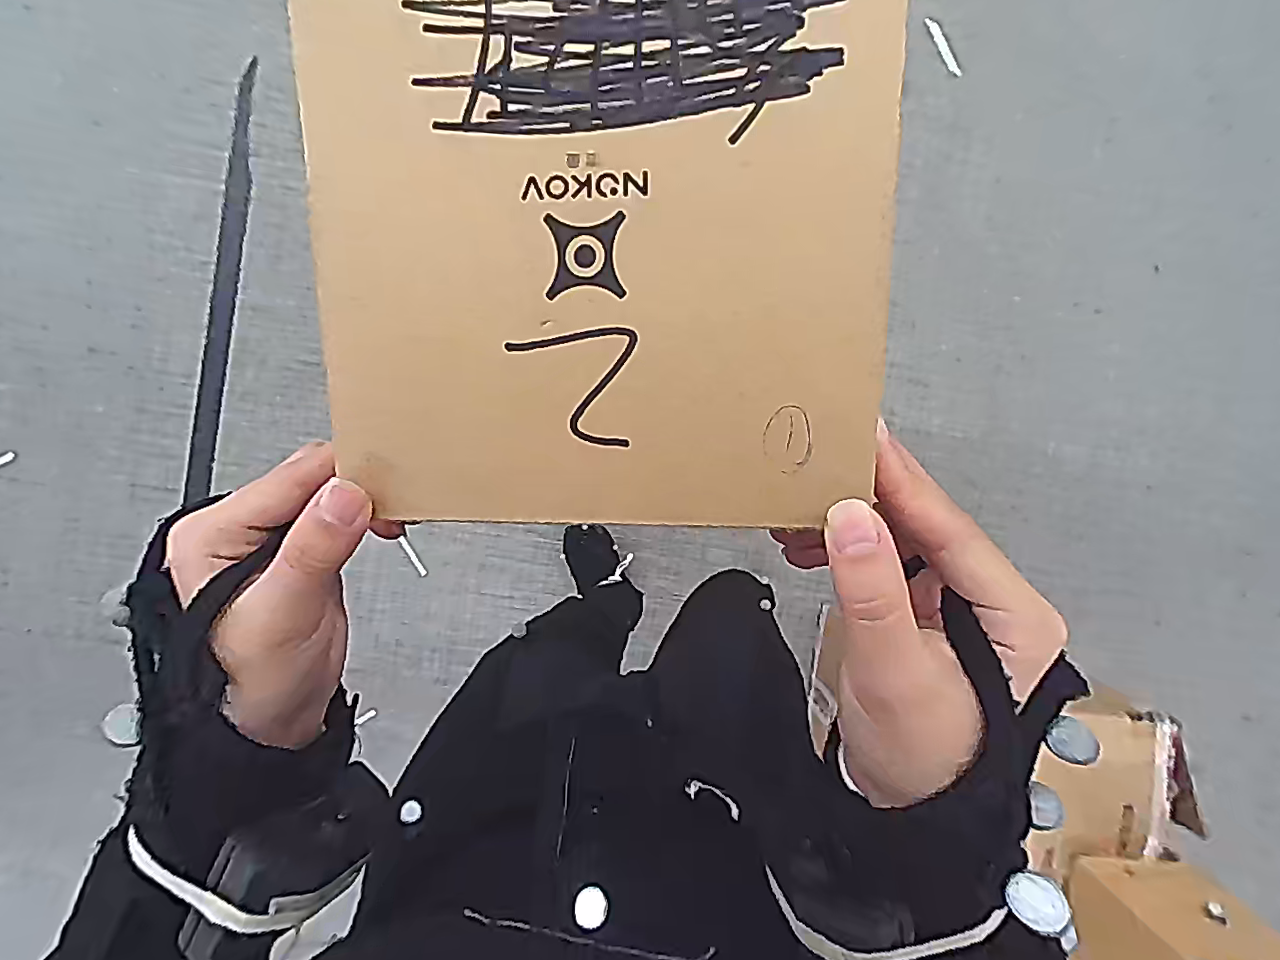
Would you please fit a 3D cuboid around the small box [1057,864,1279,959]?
[{"bbox_3d":[0.678,0.630,0.686,0.168,0.176,0.179,5,95,-2],"label":"small box"}]
